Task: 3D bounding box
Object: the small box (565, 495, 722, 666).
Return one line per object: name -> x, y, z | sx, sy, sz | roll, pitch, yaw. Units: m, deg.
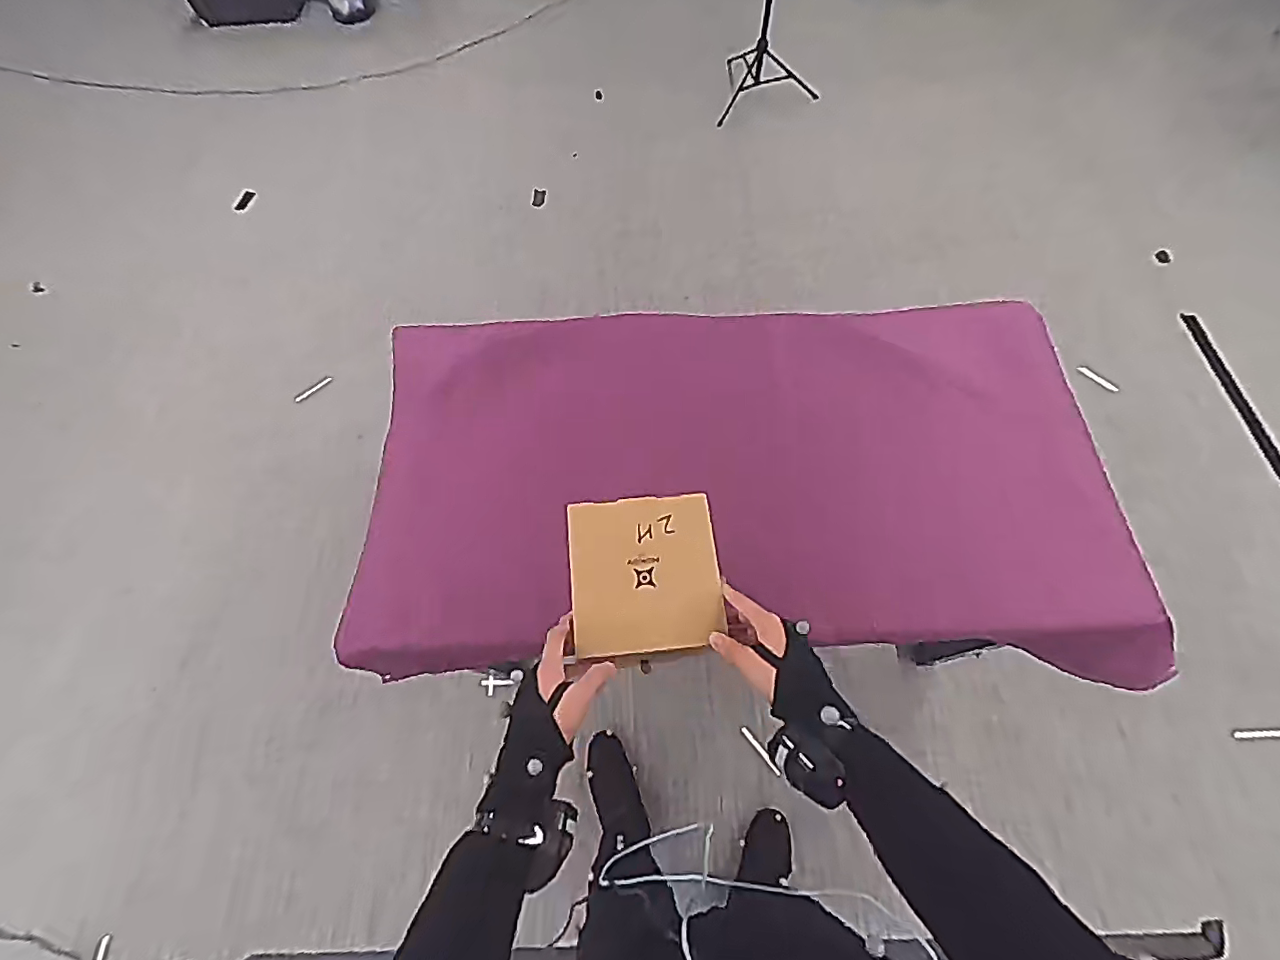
small box -> -0.002, 0.134, 0.674 | 0.168, 0.176, 0.179 | -4, 66, -4
